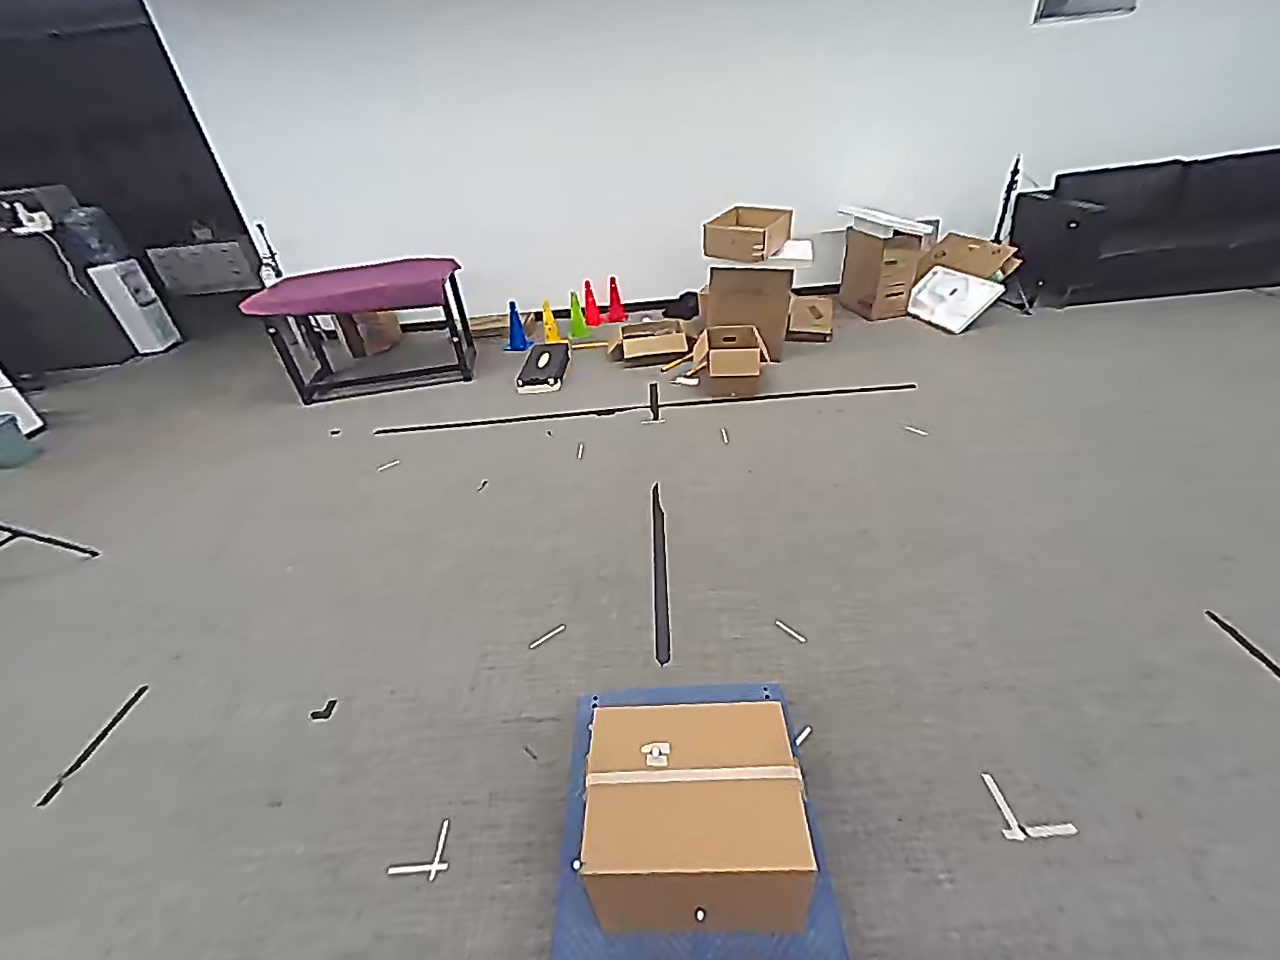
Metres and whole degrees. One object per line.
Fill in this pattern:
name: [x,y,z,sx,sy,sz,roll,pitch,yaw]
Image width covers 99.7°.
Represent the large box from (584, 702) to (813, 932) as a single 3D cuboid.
large box: [0.116,0.704,1.135,0.408,0.320,0.320,-5,34,4]
